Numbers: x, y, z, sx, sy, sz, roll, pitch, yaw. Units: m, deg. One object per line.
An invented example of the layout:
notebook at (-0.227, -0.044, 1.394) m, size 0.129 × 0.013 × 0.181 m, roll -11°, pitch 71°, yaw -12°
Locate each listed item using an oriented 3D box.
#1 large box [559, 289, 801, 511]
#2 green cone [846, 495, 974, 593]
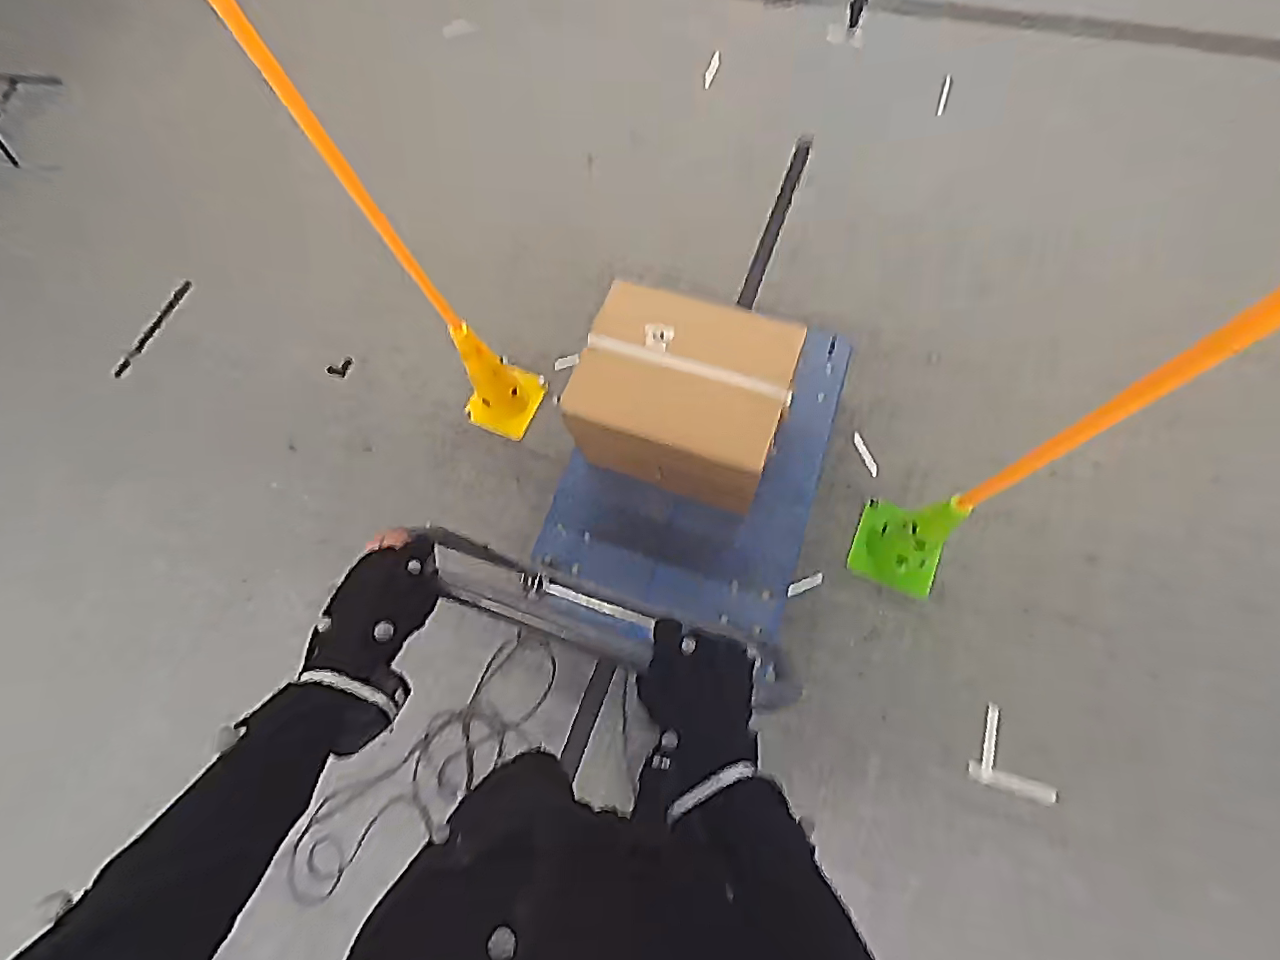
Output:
large box at (0.097, -0.160, 1.187) m, size 0.408 × 0.320 × 0.320 m, roll 19°, pitch 75°, yaw 13°
green cone at (0.621, 0.106, 1.189) m, size 0.202 × 0.368 × 0.200 m, roll 22°, pitch 75°, yaw 12°
